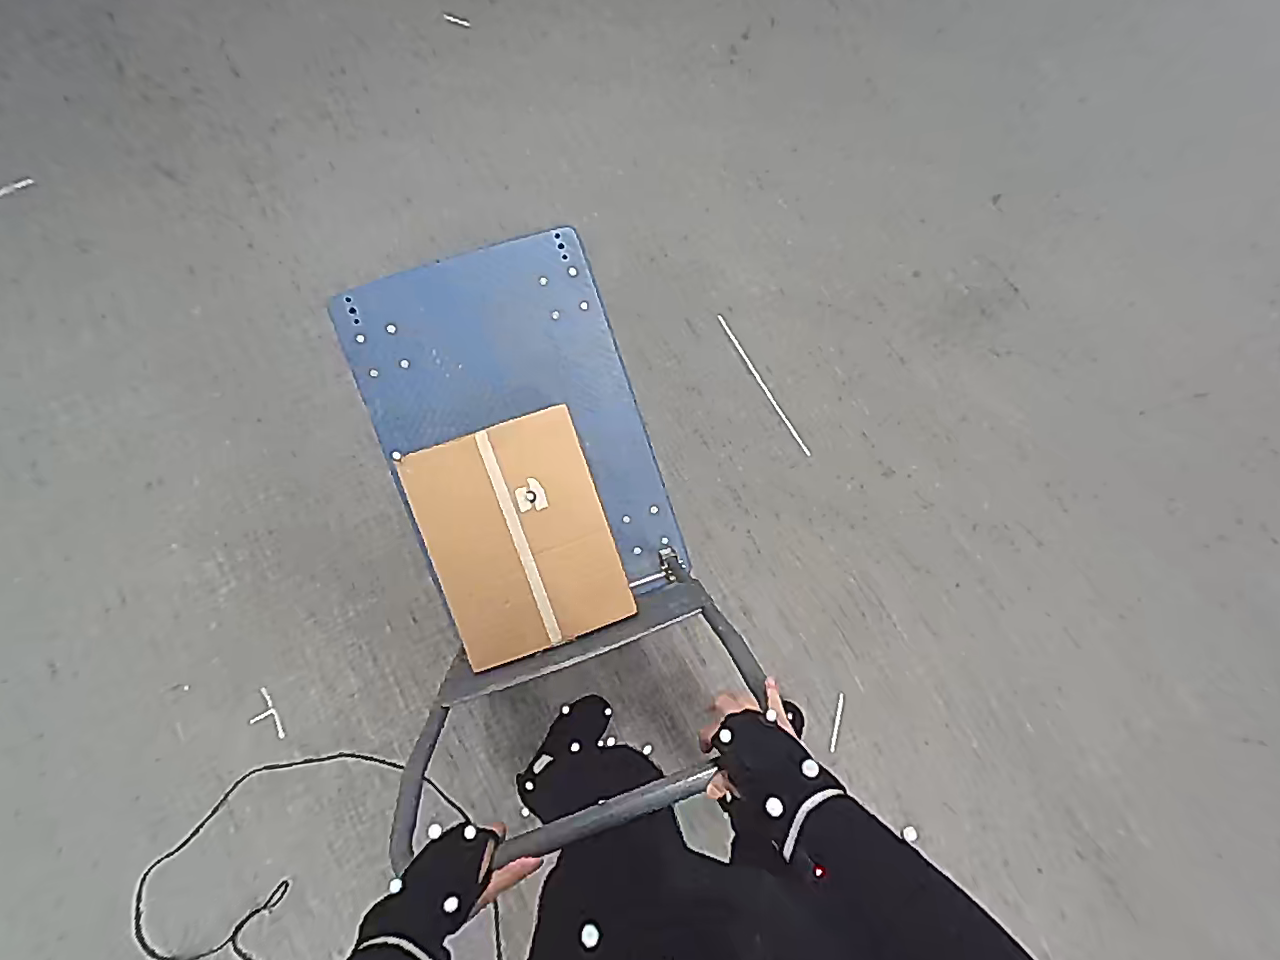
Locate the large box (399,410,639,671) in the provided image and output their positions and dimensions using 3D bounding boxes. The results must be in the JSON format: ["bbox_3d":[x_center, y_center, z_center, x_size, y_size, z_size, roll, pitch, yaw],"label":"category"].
[{"bbox_3d":[-0.224,0.104,1.113,0.320,0.320,0.408,-20,94,-6],"label":"large box"}]
